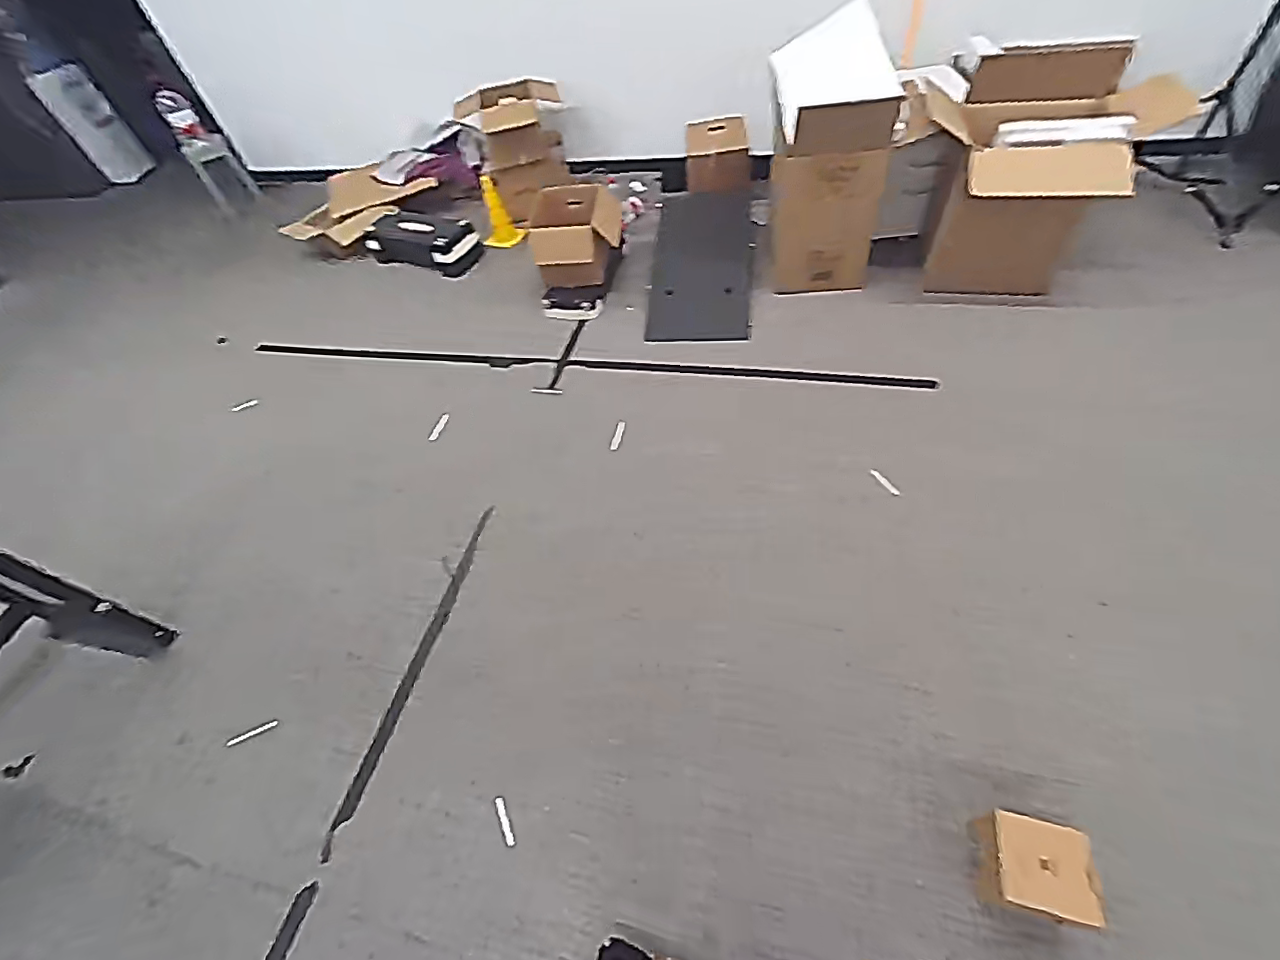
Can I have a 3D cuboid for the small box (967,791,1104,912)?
[{"bbox_3d":[0.826,0.785,1.149,0.179,0.176,0.168,9,54,14],"label":"small box"}]
